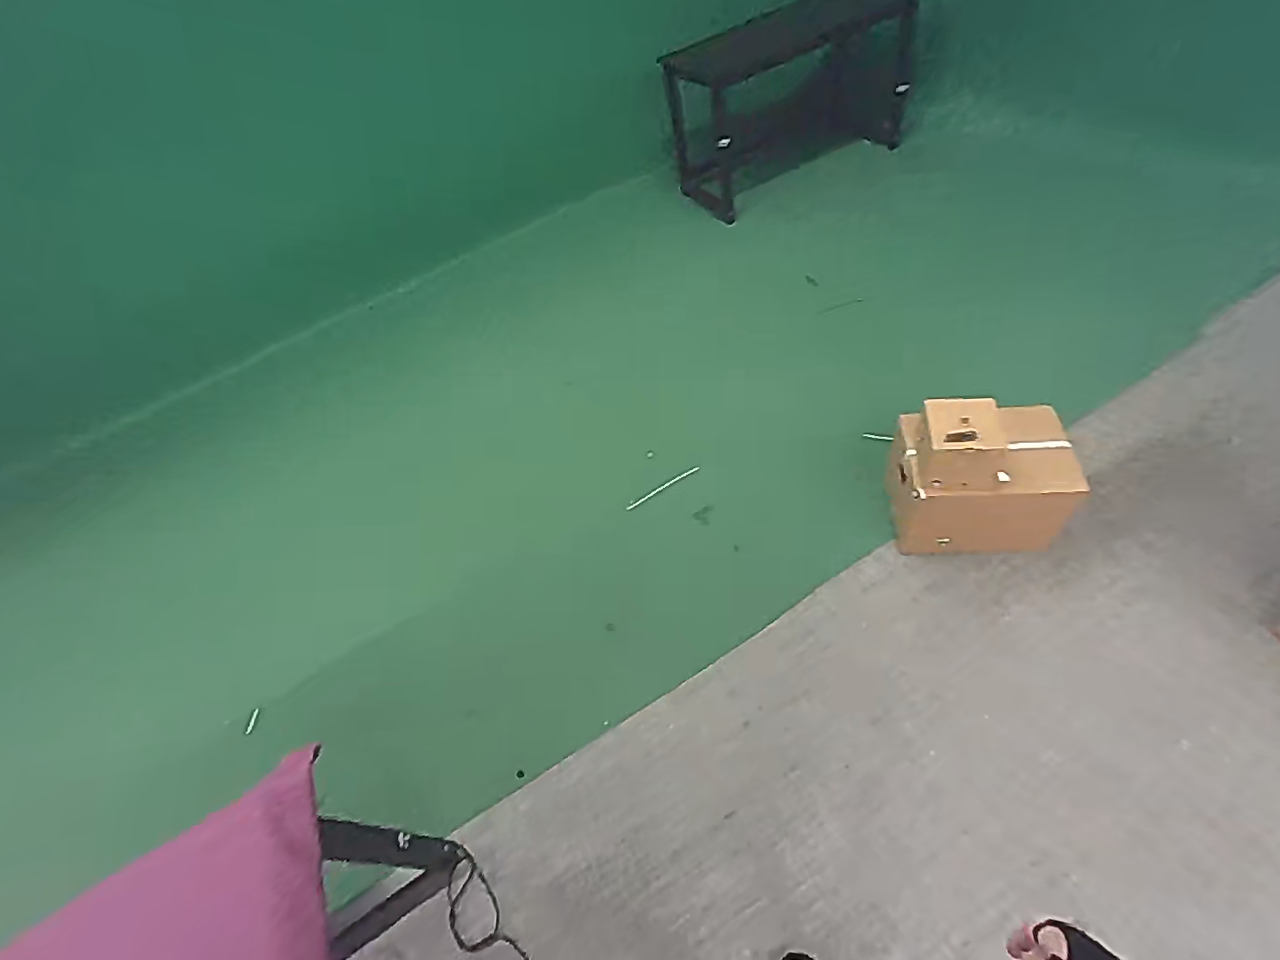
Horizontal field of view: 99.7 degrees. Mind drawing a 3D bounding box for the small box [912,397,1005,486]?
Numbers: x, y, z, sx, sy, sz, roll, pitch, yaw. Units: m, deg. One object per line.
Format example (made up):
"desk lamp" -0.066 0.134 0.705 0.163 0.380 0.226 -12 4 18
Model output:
"small box" 0.834 -0.098 1.434 0.168 0.176 0.179 1 53 14
